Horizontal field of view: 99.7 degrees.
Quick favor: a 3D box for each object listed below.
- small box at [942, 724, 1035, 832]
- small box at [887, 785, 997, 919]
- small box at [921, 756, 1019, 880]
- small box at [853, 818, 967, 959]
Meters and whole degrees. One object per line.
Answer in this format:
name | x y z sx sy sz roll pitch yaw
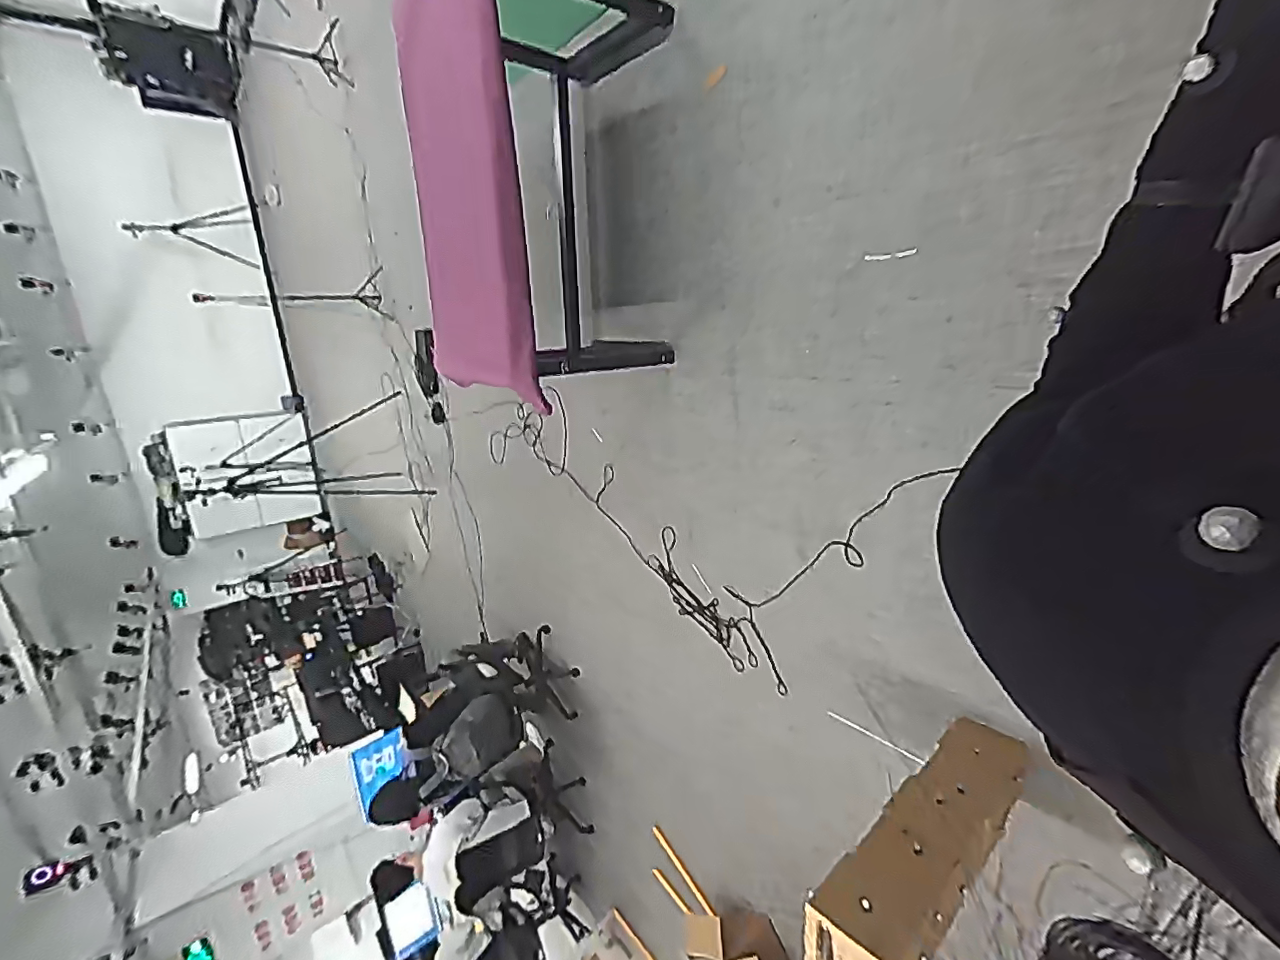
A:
small box | 0.946 0.803 1.472 0.179 0.176 0.168 14 112 49
small box | 0.699 0.855 1.263 0.179 0.176 0.168 12 110 50
small box | 0.827 0.838 1.364 0.179 0.176 0.168 14 111 48
small box | 0.578 0.884 1.158 0.168 0.176 0.179 11 109 49
